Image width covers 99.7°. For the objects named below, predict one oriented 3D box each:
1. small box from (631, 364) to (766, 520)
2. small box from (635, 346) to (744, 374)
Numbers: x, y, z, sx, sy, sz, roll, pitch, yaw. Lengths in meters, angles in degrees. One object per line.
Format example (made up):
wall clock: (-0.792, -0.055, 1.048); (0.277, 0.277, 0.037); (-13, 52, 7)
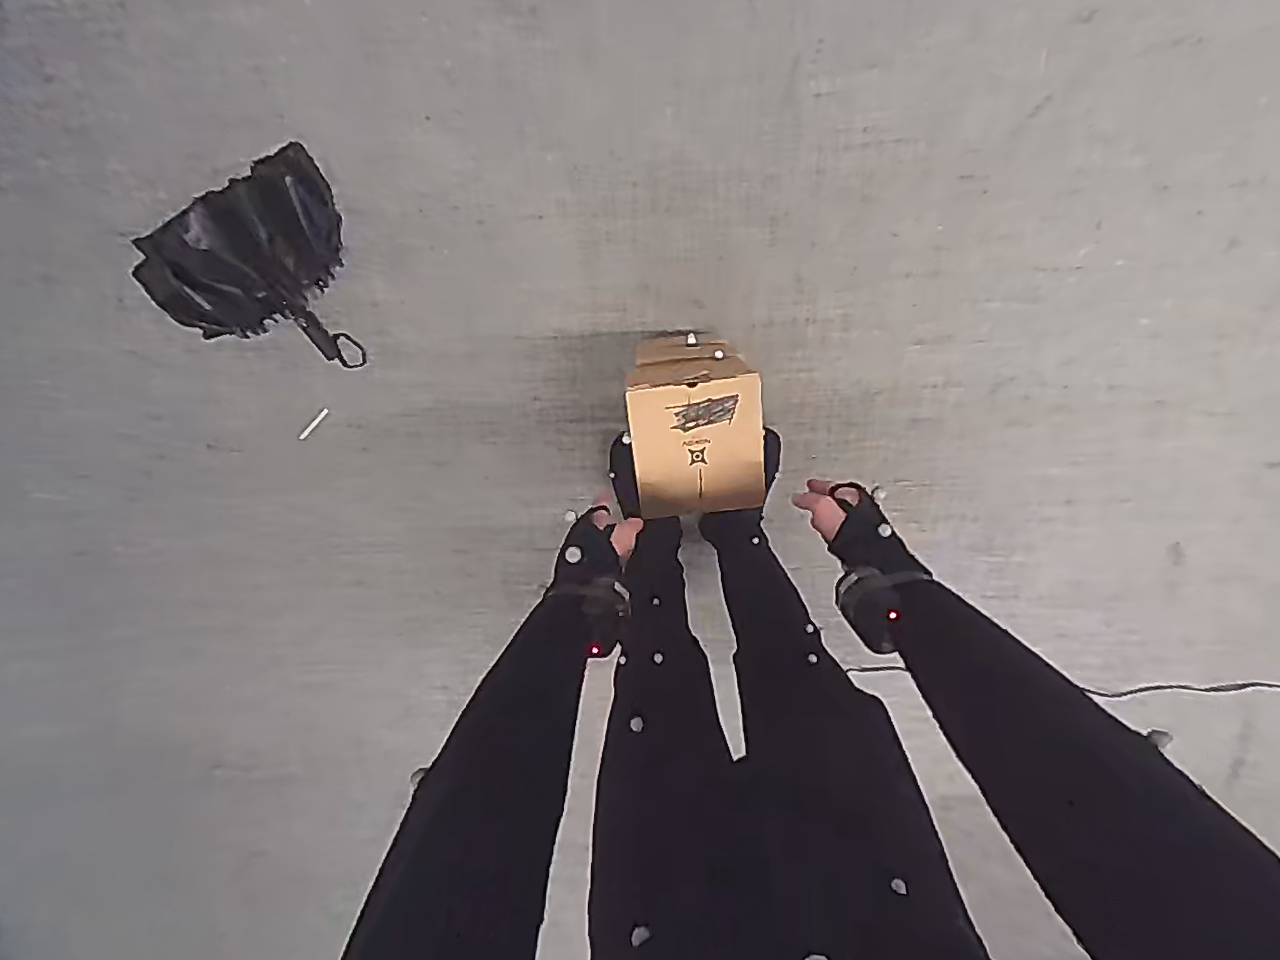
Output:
small box: (0.076, -0.062, 0.759); (0.168, 0.176, 0.179); (-6, 111, 3)
small box: (0.080, -0.126, 0.911); (0.168, 0.176, 0.179); (-3, 109, 1)
